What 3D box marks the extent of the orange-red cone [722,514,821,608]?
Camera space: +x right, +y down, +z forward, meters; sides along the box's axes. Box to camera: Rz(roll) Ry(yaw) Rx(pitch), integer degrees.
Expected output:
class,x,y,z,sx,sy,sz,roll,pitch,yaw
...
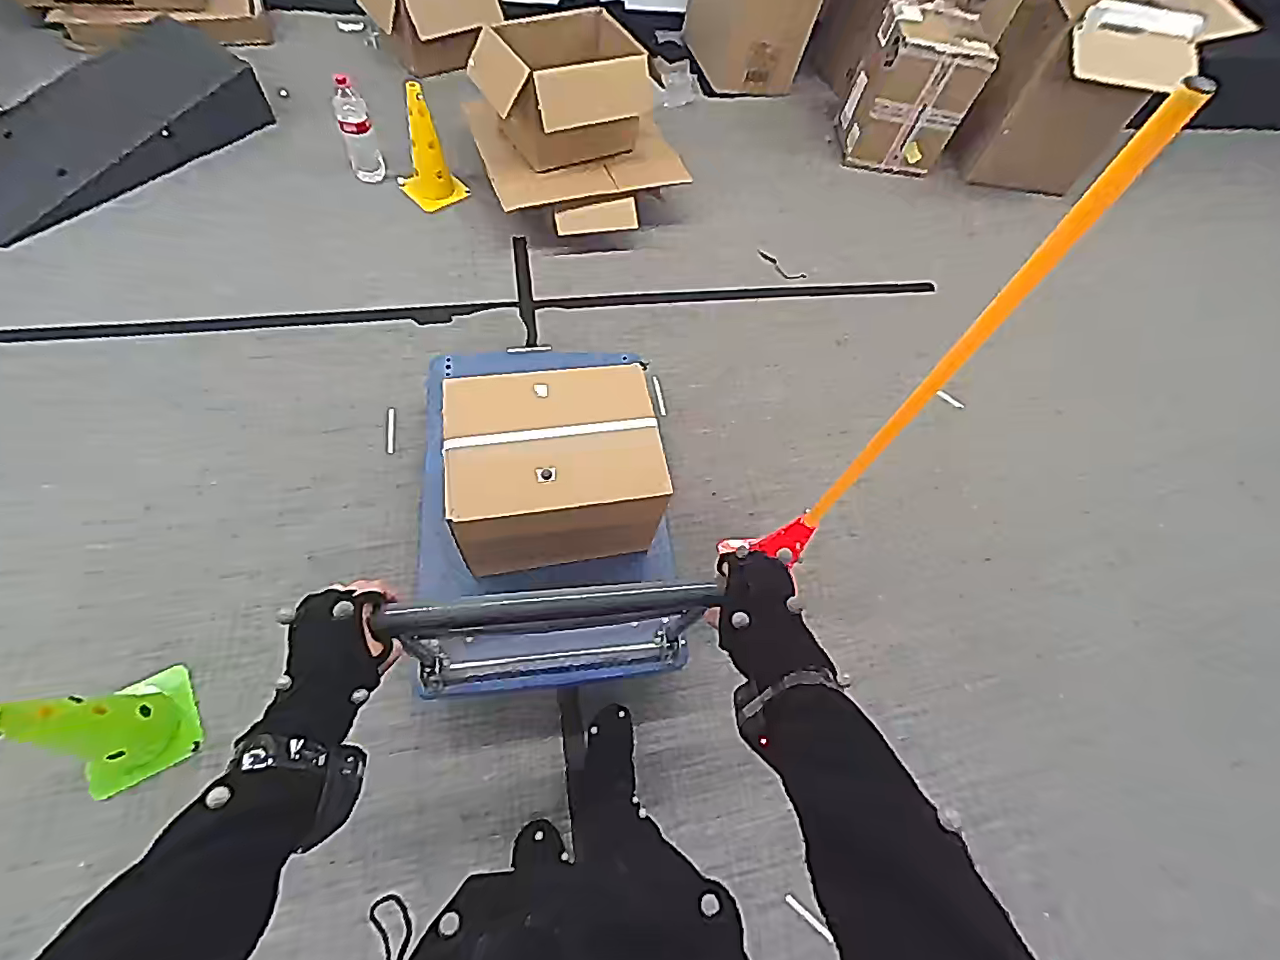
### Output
class,x,y,z,sx,sy,sz,roll,pitch,yaw
orange-red cone,0.350,0.169,1.314,0.199,0.360,0.198,0,63,-9
